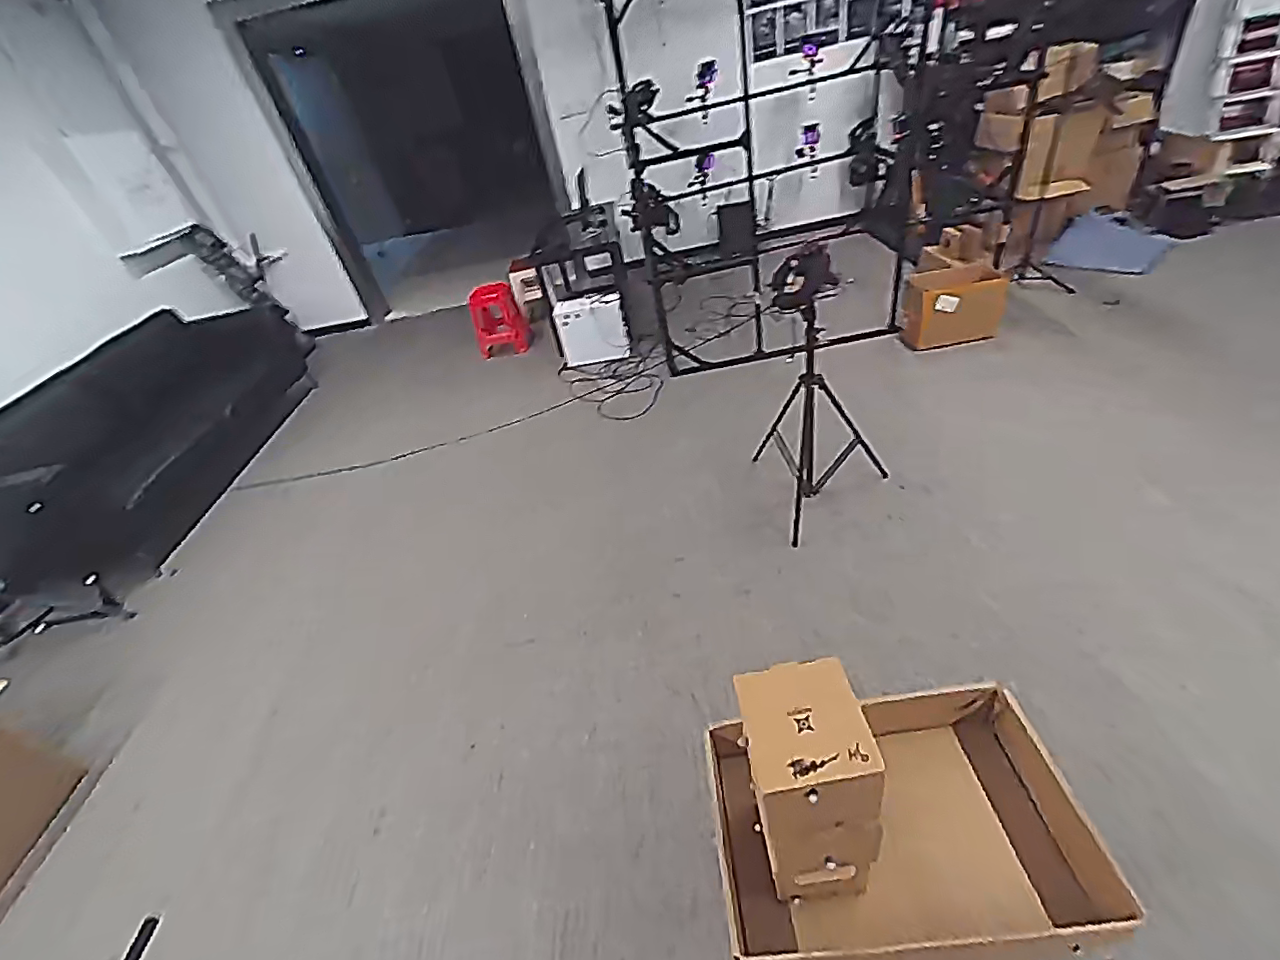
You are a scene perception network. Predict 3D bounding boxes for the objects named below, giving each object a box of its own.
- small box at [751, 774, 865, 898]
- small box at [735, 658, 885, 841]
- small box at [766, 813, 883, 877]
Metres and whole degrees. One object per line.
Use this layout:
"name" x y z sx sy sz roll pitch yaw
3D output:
"small box" 0.312 0.651 1.009 0.168 0.176 0.179 -11 36 5
"small box" 0.244 0.400 0.807 0.168 0.176 0.179 -12 36 4
"small box" 0.285 0.526 0.905 0.168 0.176 0.179 -12 38 4
